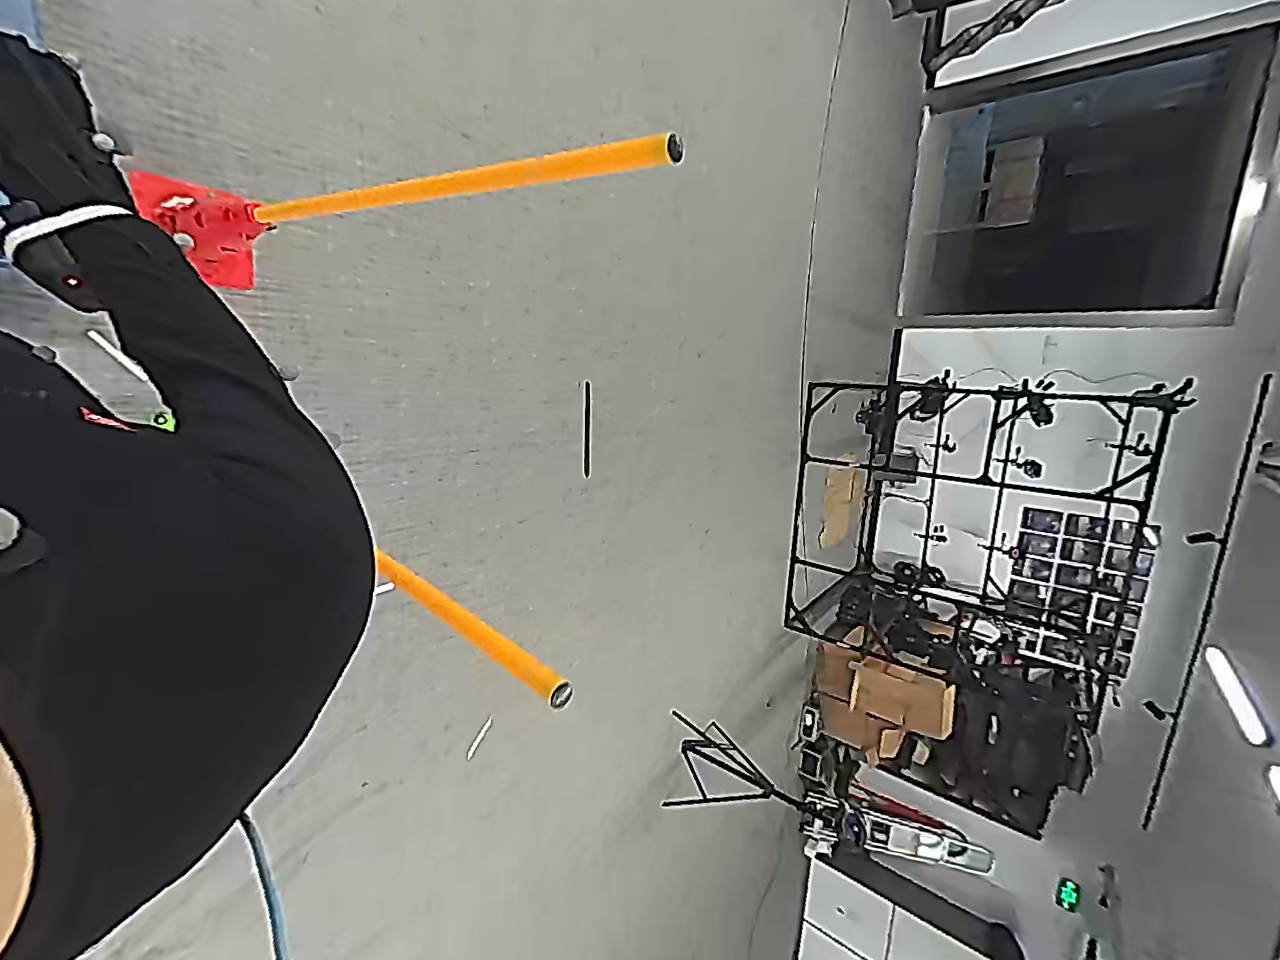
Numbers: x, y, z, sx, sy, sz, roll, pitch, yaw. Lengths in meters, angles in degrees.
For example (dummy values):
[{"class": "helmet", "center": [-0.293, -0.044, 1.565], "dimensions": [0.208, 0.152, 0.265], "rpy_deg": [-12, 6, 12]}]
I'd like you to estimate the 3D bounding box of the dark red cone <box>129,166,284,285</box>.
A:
[{"class": "dark red cone", "center": [-0.787, -0.499, 1.031], "dimensions": [0.201, 0.394, 0.202], "rpy_deg": [-13, 109, -54]}]
